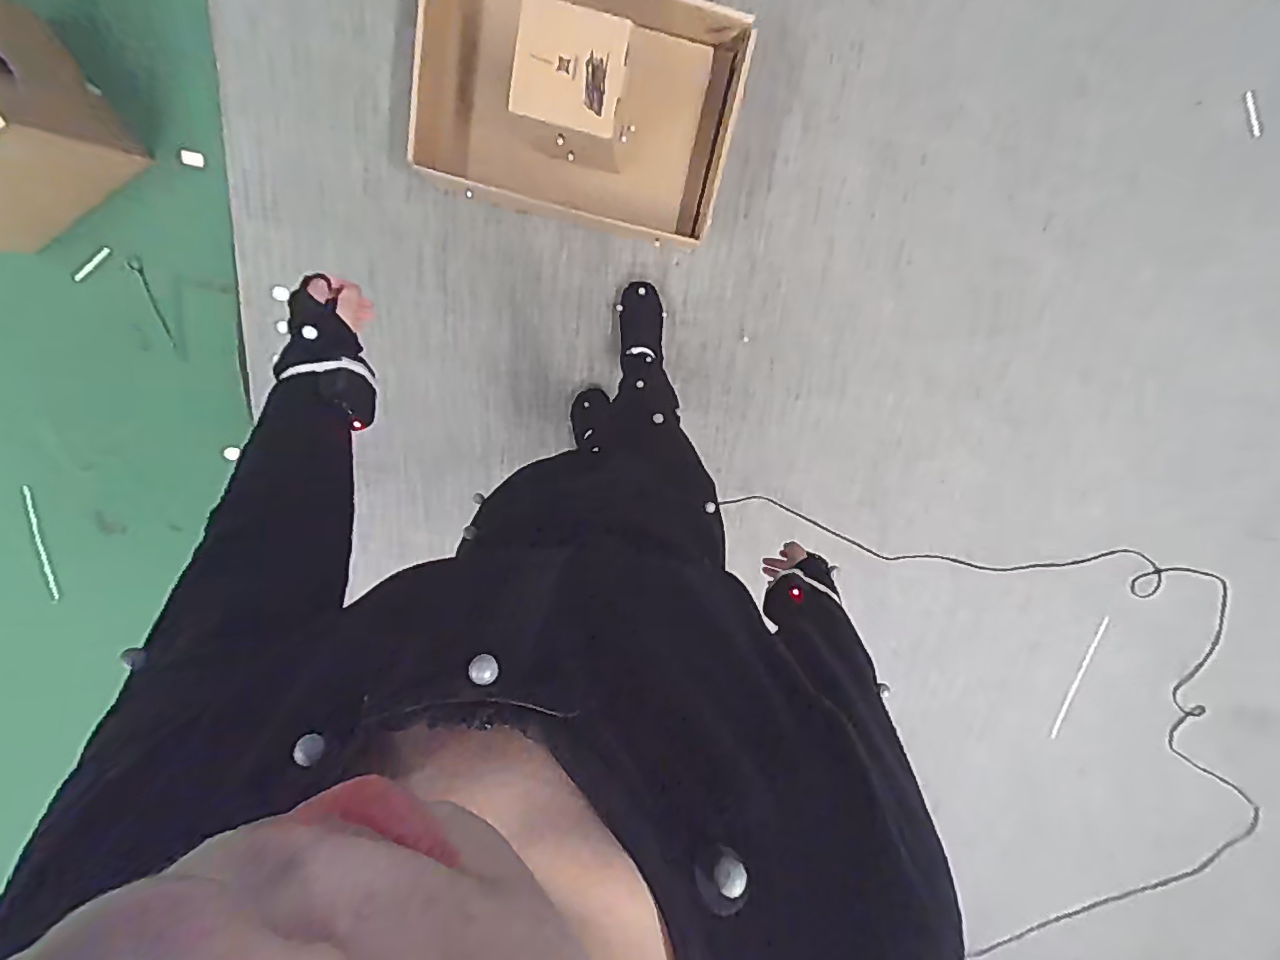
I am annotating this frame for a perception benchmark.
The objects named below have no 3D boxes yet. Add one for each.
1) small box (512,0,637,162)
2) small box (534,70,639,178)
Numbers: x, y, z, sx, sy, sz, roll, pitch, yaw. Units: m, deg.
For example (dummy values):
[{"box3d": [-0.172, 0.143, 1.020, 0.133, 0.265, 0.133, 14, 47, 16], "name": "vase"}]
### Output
[{"box3d": [-0.107, -0.674, 0.940, 0.179, 0.176, 0.168, 14, 109, -3], "name": "small box"}, {"box3d": [-0.104, -0.732, 1.095, 0.179, 0.176, 0.168, 12, 110, -5], "name": "small box"}]
